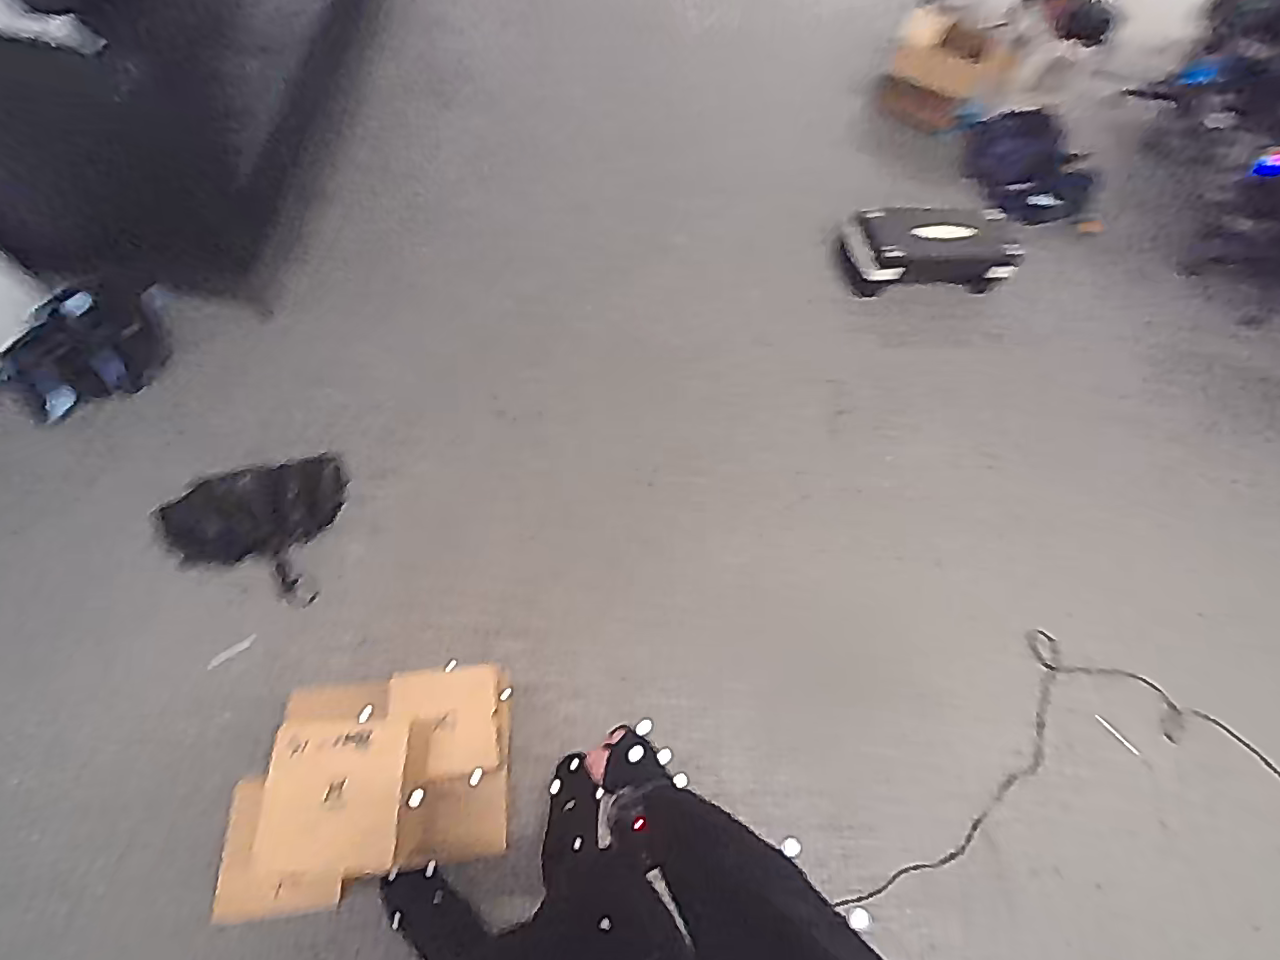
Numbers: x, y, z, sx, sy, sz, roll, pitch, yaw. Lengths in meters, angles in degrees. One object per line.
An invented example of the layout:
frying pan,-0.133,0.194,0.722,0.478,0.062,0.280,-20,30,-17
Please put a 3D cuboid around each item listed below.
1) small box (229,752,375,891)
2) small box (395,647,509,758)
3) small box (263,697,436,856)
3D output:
small box,-0.526,0.535,0.887,0.168,0.176,0.179,0,70,-10
small box,-0.332,0.405,0.978,0.179,0.176,0.168,-5,65,-11
small box,-0.400,0.412,0.780,0.168,0.176,0.179,1,69,-9
